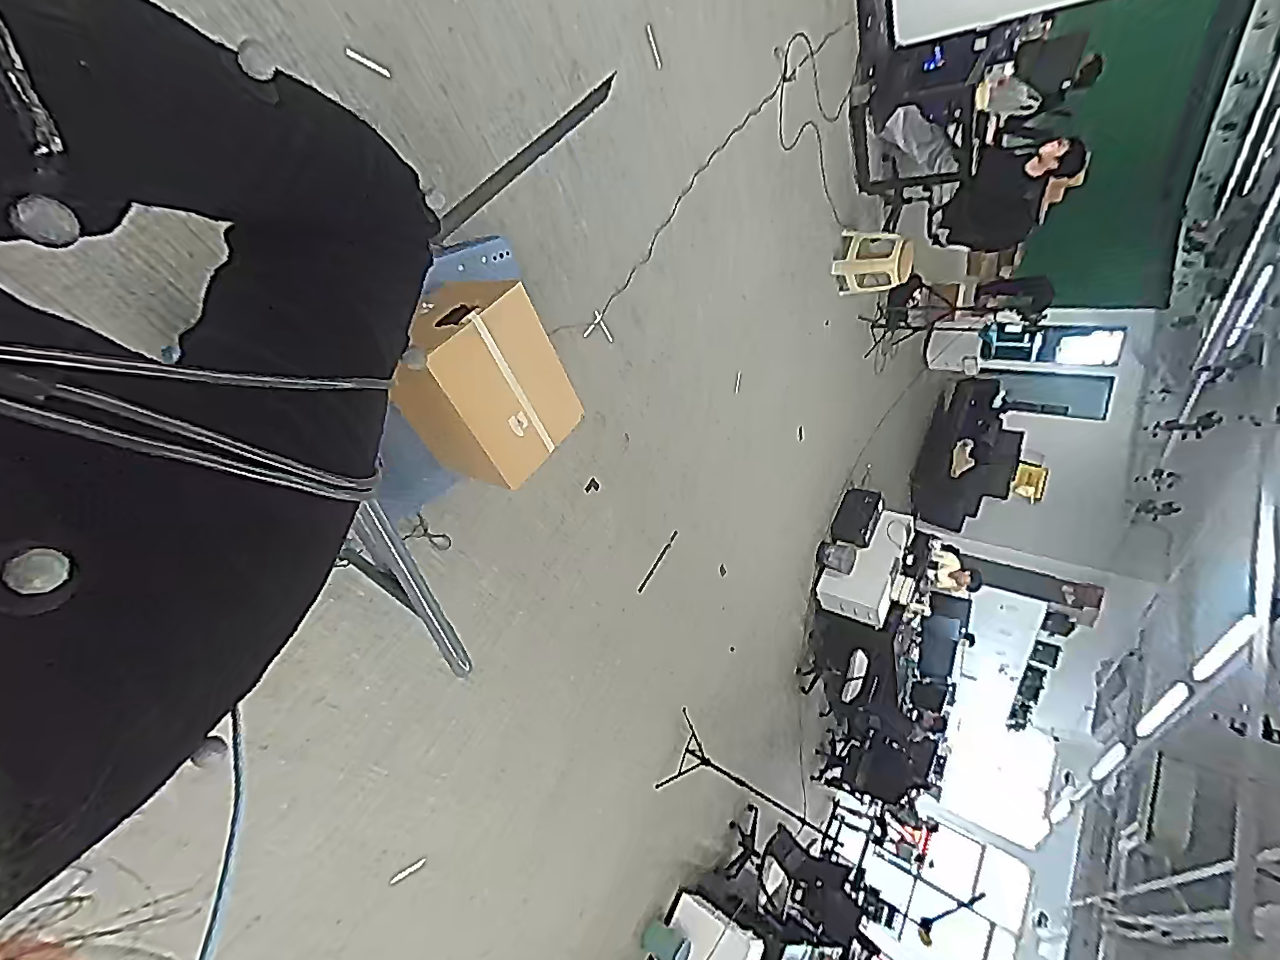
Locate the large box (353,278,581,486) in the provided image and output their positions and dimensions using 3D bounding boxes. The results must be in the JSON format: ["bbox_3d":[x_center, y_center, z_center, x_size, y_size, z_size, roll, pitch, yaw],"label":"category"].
[{"bbox_3d":[-0.421,-0.253,1.378,0.320,0.320,0.408,-51,138,-28],"label":"large box"}]
